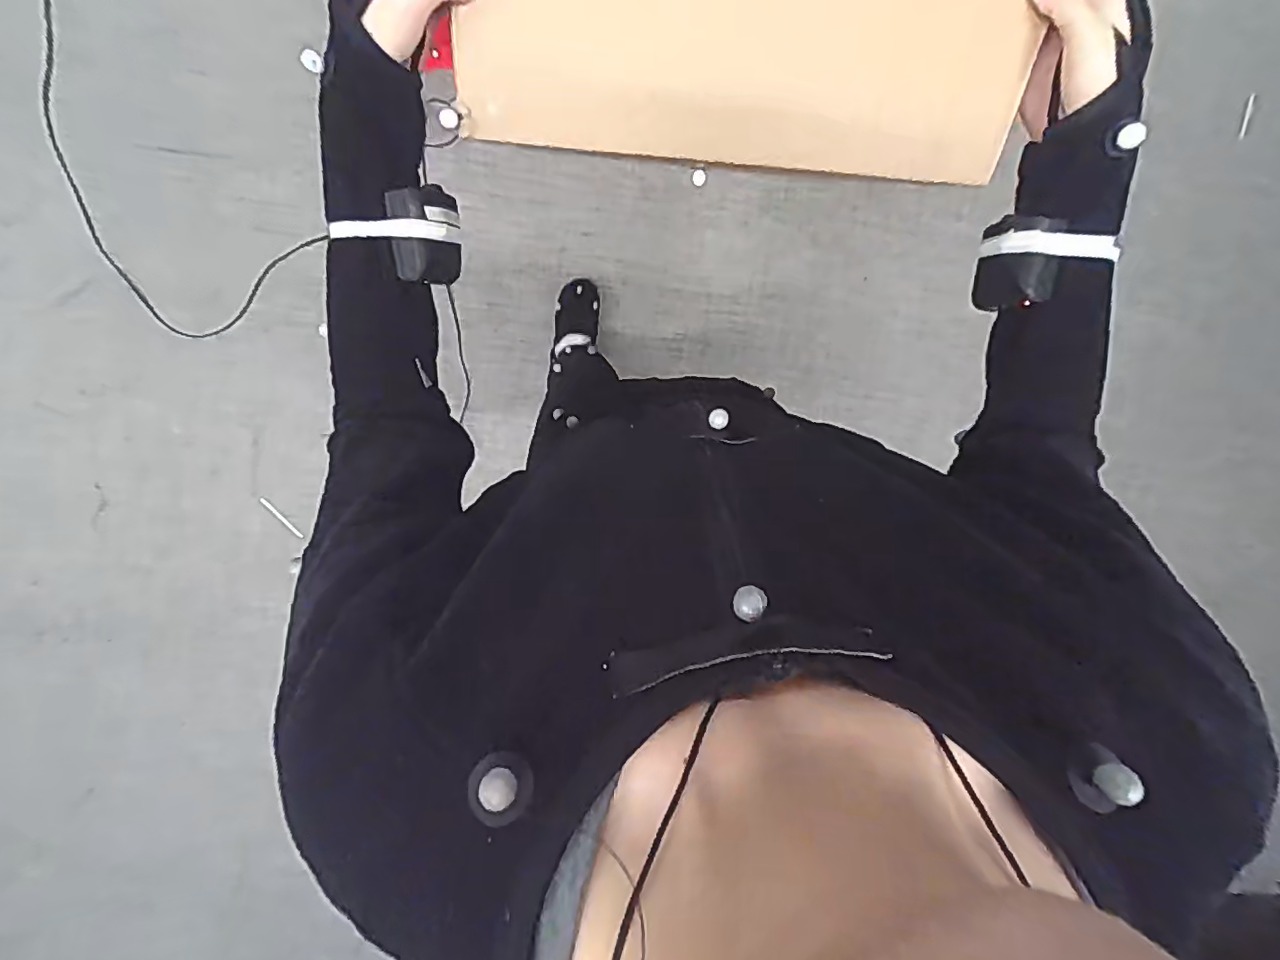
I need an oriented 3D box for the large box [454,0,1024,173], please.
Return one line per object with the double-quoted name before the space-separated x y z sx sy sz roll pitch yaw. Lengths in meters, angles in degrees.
"large box" 0.072 -0.460 0.468 0.408 0.320 0.320 2 120 -4
